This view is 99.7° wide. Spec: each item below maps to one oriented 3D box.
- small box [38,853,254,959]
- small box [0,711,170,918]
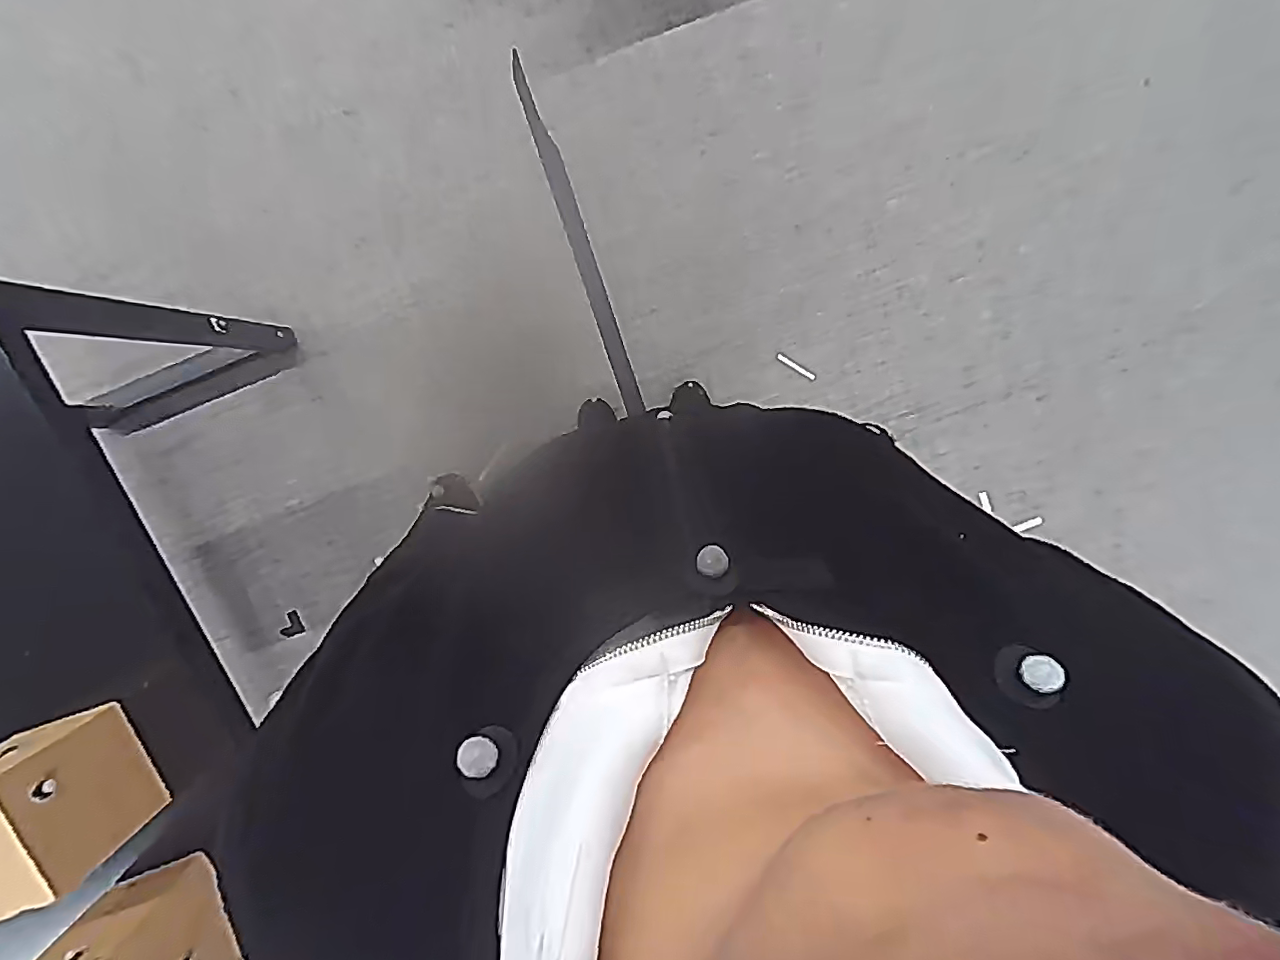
[{"bbox_3d":[-0.712,0.693,0.776,0.168,0.176,0.179,-22,100,2],"label":"small box"},{"bbox_3d":[-0.807,0.441,0.729,0.168,0.176,0.179,-19,100,2],"label":"small box"}]
